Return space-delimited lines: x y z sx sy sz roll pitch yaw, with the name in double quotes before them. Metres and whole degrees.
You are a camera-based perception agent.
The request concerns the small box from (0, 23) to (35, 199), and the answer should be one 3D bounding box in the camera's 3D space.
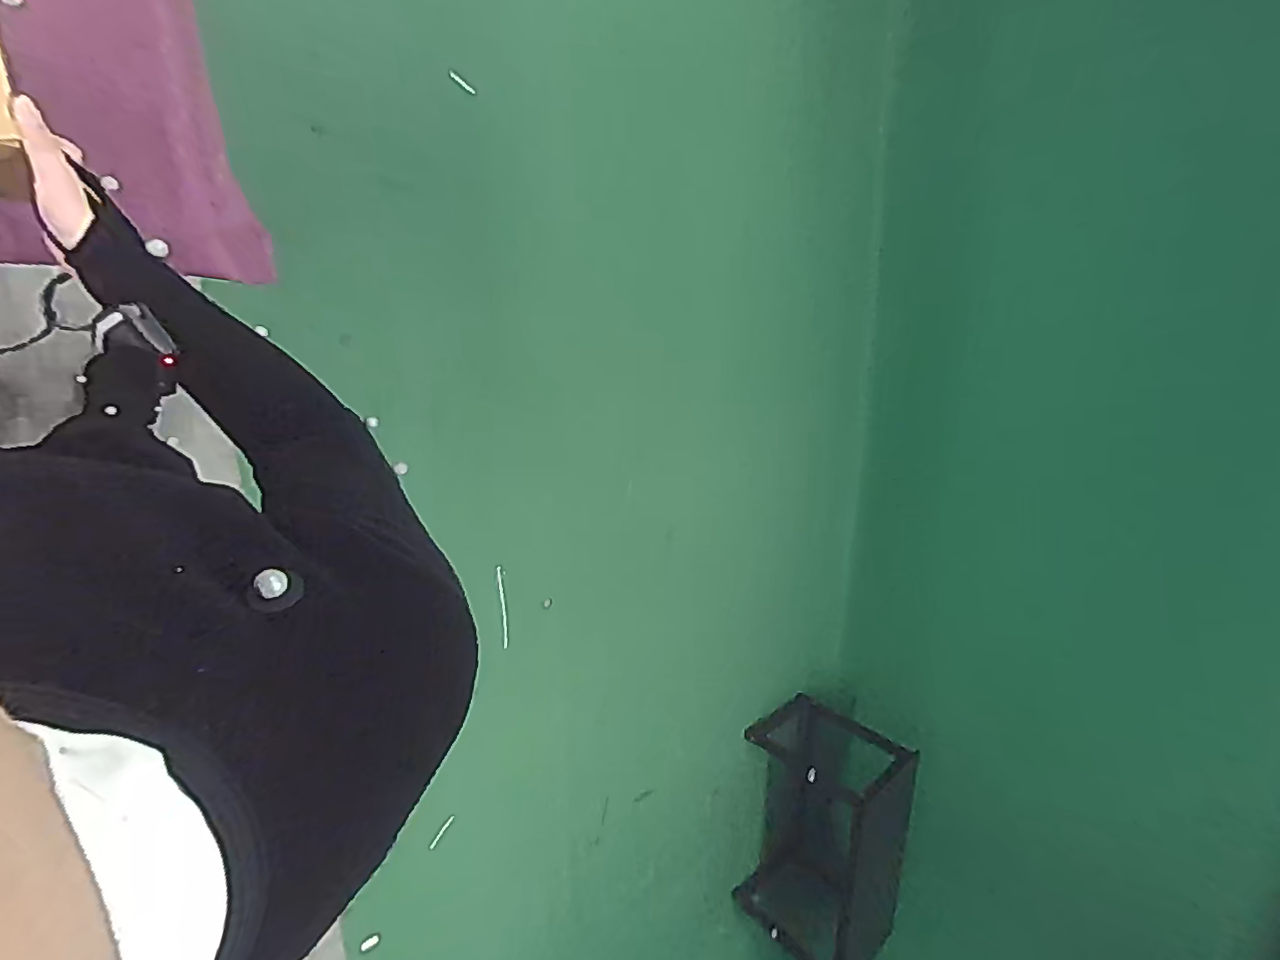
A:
"small box" -0.602 -0.340 0.410 0.168 0.176 0.179 -14 106 -44
